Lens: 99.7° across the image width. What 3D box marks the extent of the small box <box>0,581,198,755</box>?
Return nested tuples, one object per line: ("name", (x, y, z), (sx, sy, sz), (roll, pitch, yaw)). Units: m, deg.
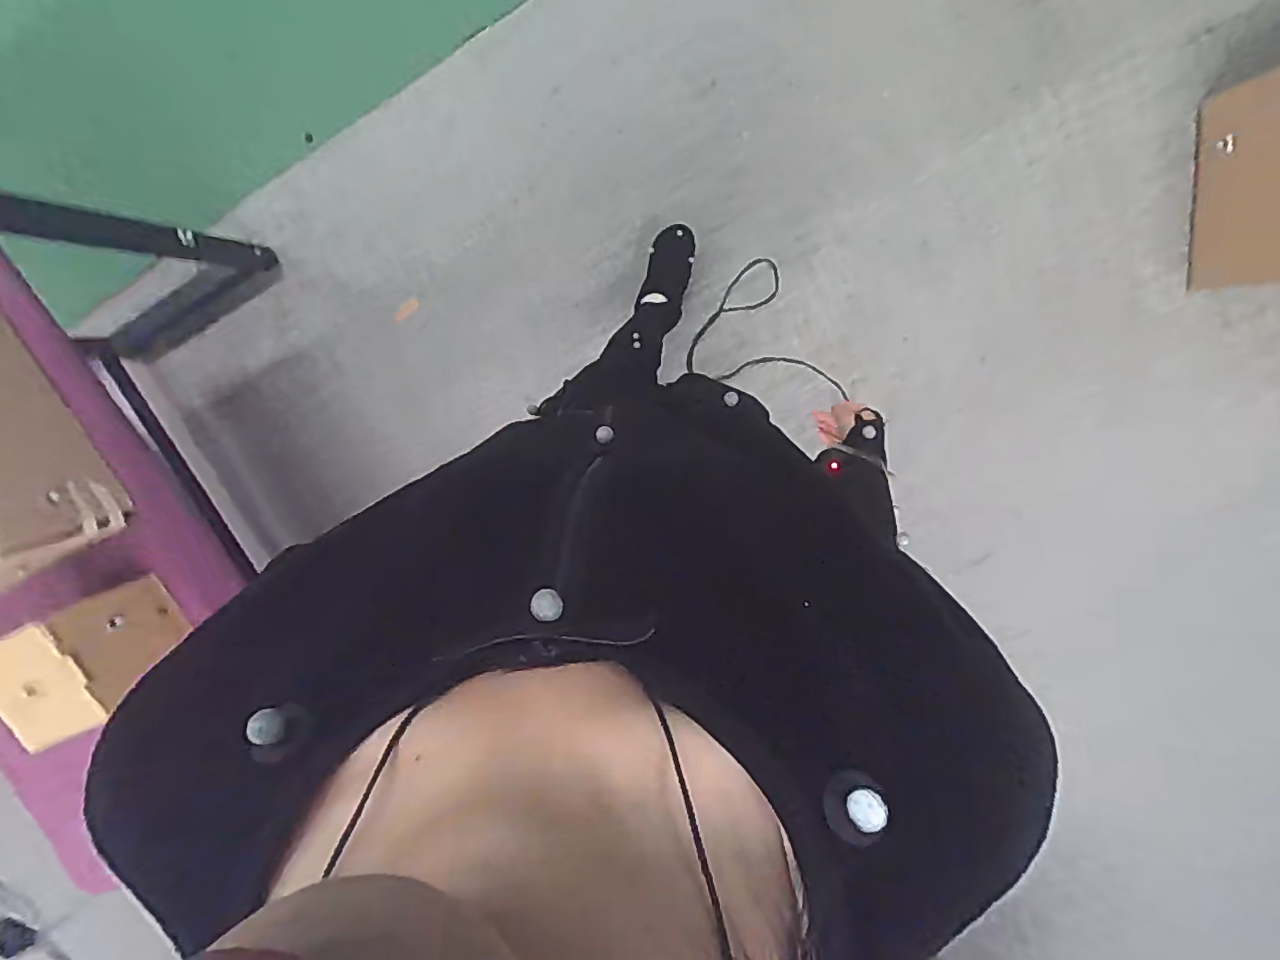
("small box", (-0.845, 0.281, 0.839), (0.179, 0.176, 0.168), (-23, 100, 13))
